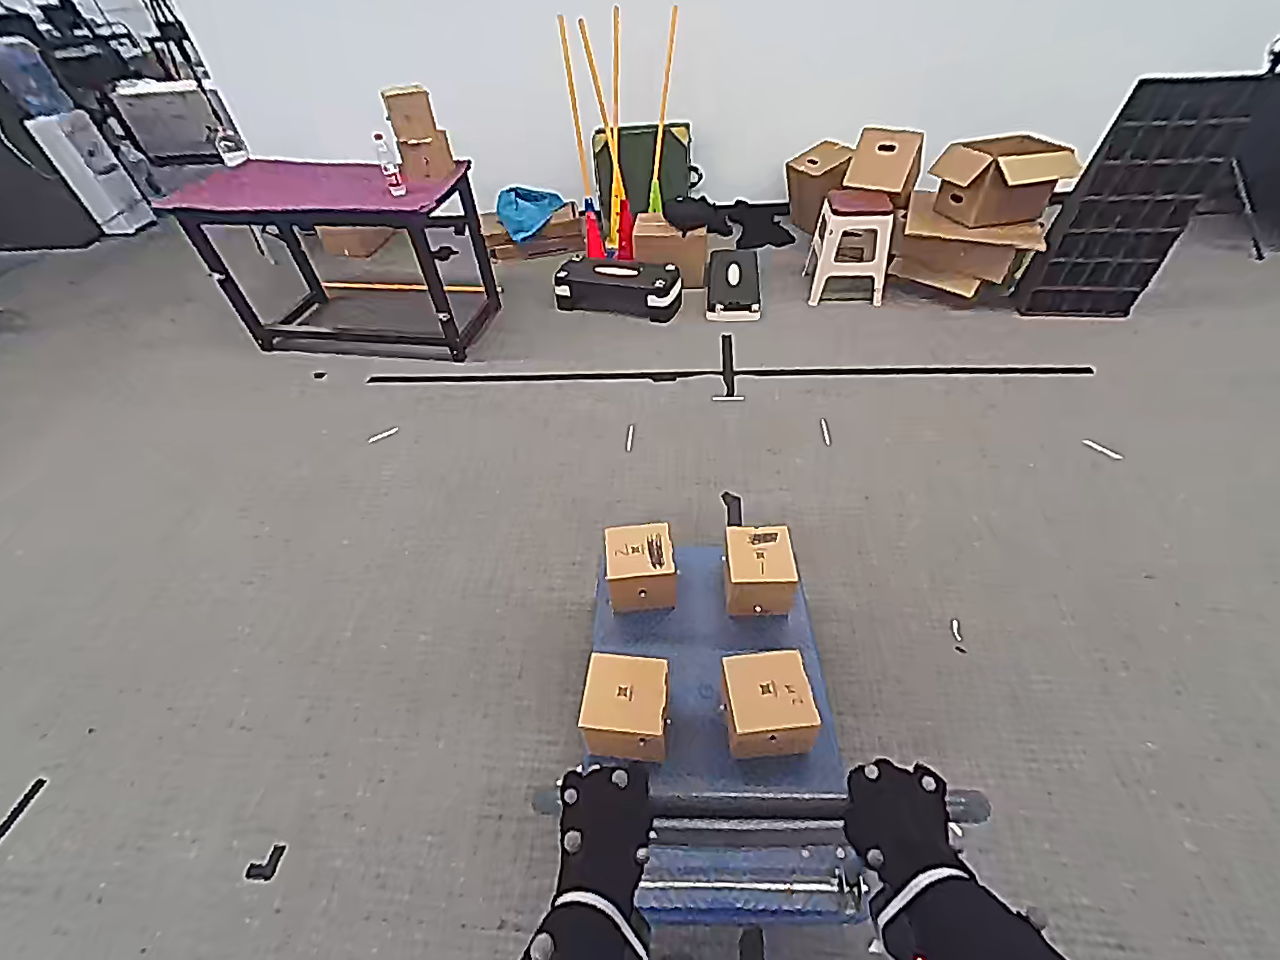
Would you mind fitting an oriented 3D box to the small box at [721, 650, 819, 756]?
[{"bbox_3d":[0.280,0.502,1.209,0.179,0.176,0.168,-6,46,0],"label":"small box"}]

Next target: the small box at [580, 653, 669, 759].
[{"bbox_3d":[-0.027,0.514,1.224,0.179,0.176,0.168,3,46,6],"label":"small box"}]

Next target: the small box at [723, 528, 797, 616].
[{"bbox_3d":[0.314,0.247,1.453,0.168,0.176,0.179,-1,47,4],"label":"small box"}]
